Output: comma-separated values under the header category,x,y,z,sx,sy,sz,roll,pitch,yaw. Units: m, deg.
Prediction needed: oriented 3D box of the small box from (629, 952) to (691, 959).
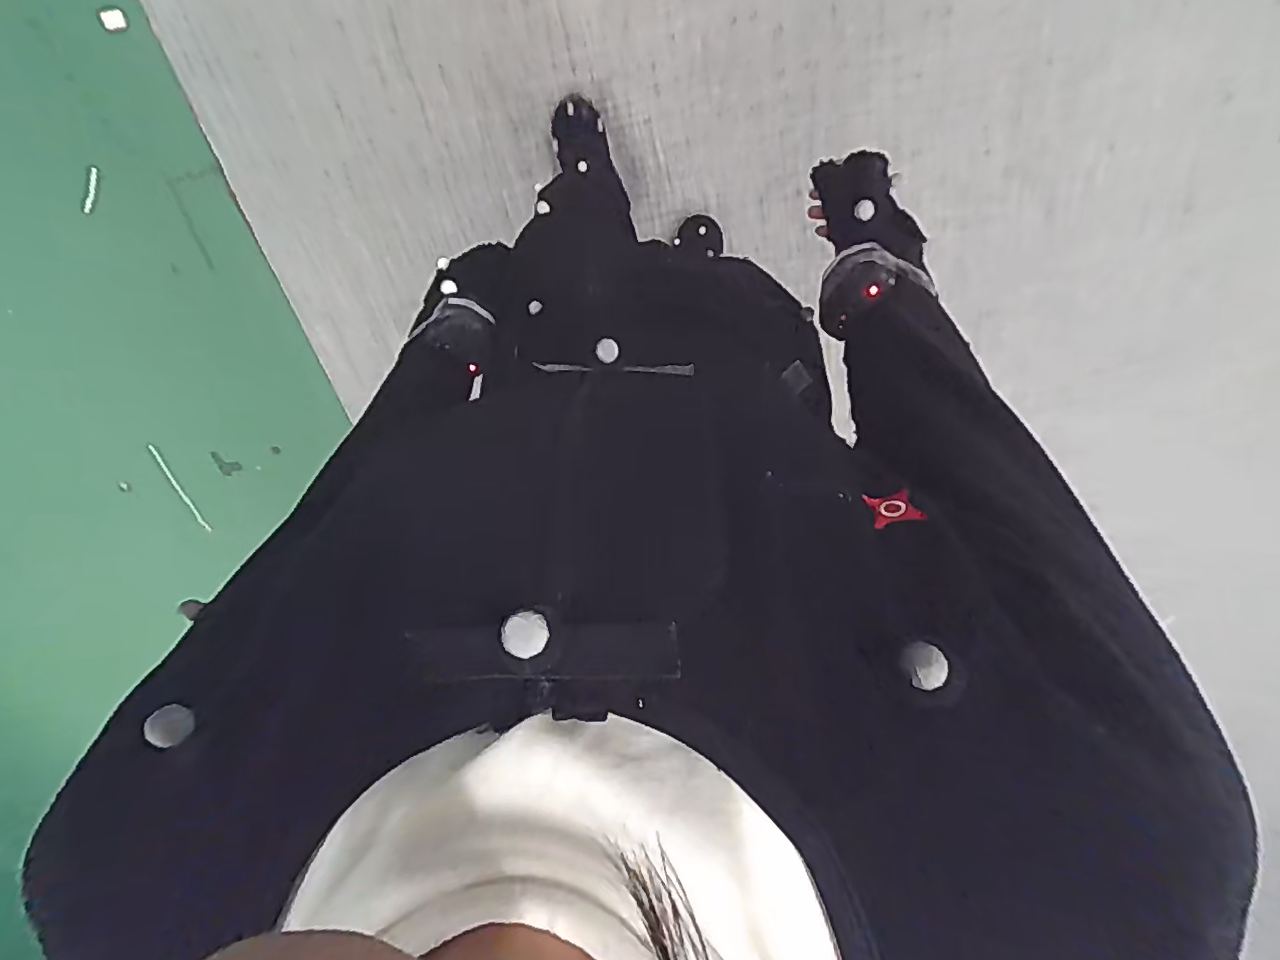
category,x,y,z,sx,sy,sz,roll,pitch,yaw
small box,0.061,1.382,1.424,0.179,0.176,0.168,-8,119,10
